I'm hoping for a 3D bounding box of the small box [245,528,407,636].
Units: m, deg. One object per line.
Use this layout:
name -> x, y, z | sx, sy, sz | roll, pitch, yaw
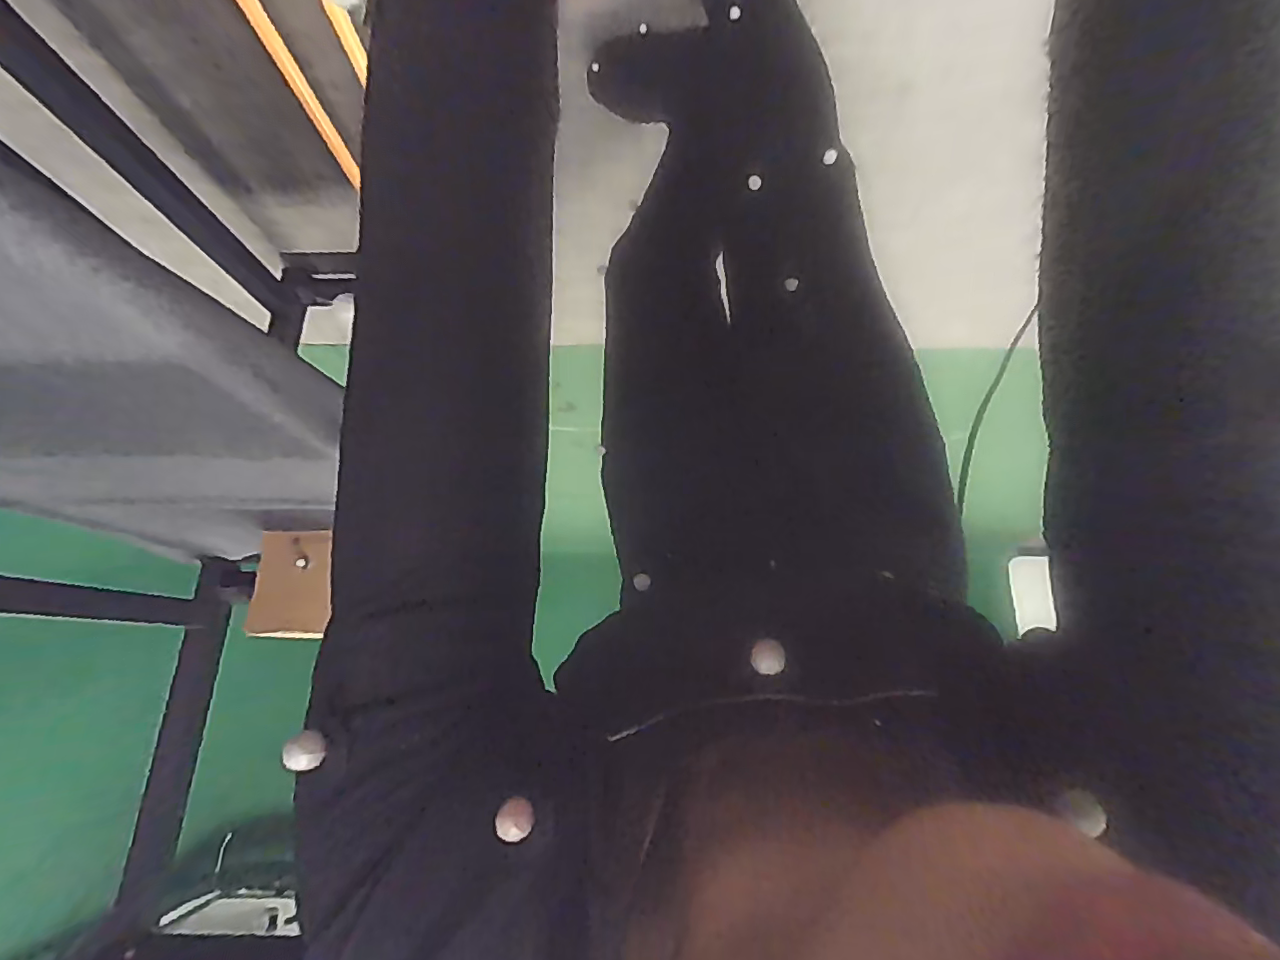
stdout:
small box -> -0.536, 0.184, 0.951 | 0.168, 0.176, 0.179 | -2, 161, 7
